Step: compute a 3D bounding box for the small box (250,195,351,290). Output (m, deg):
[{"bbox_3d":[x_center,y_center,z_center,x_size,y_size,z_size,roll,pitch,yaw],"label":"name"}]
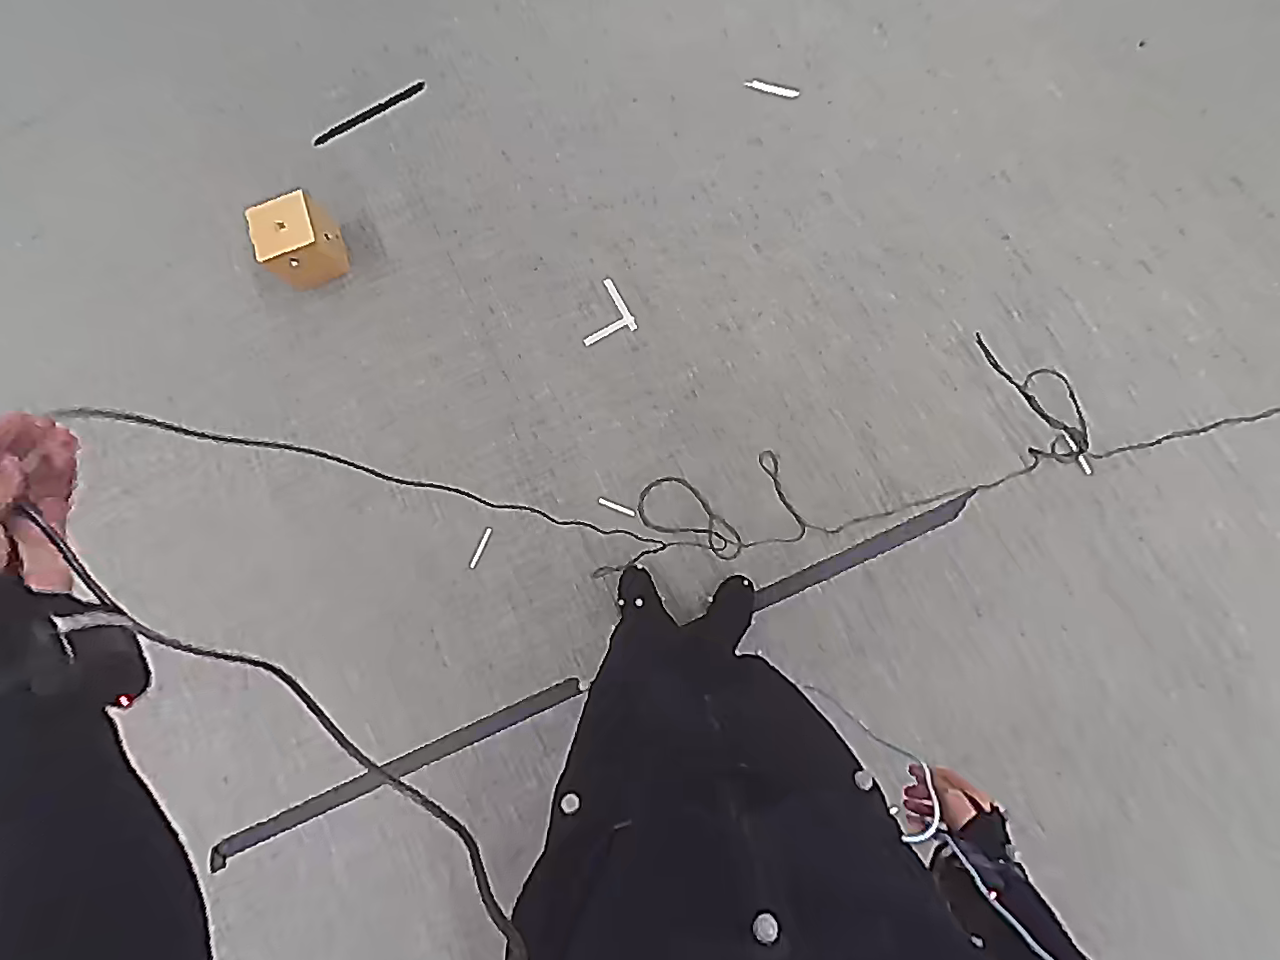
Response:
[{"bbox_3d":[-0.976,-0.684,1.575,0.179,0.176,0.168,-19,83,3],"label":"small box"}]
